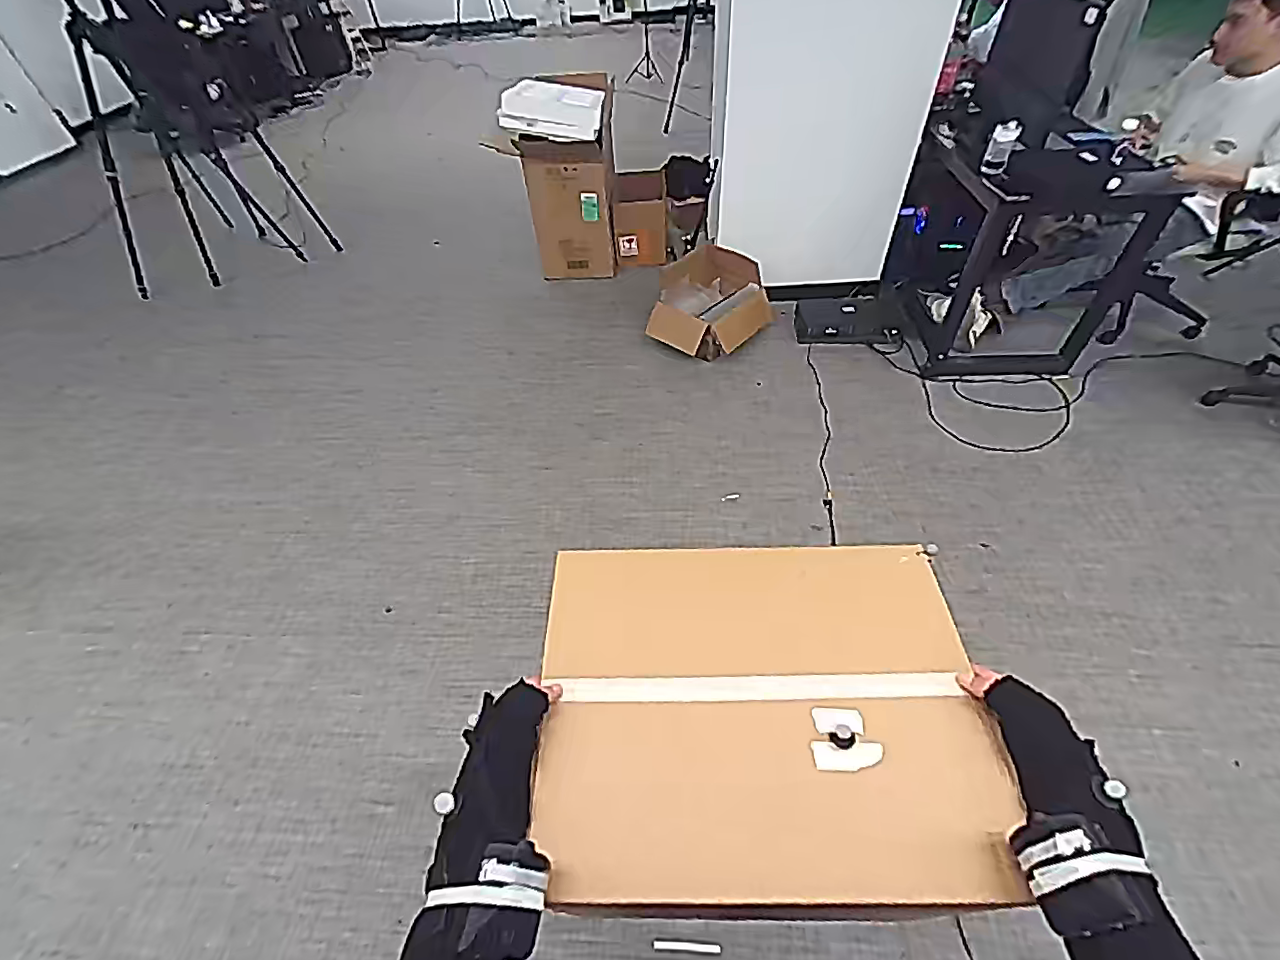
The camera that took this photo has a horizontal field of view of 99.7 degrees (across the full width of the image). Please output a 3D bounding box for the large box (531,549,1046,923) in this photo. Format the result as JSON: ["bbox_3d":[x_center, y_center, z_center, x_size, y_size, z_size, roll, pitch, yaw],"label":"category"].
[{"bbox_3d":[0.113,0.296,0.619,0.408,0.320,0.320,-1,49,1],"label":"large box"}]
